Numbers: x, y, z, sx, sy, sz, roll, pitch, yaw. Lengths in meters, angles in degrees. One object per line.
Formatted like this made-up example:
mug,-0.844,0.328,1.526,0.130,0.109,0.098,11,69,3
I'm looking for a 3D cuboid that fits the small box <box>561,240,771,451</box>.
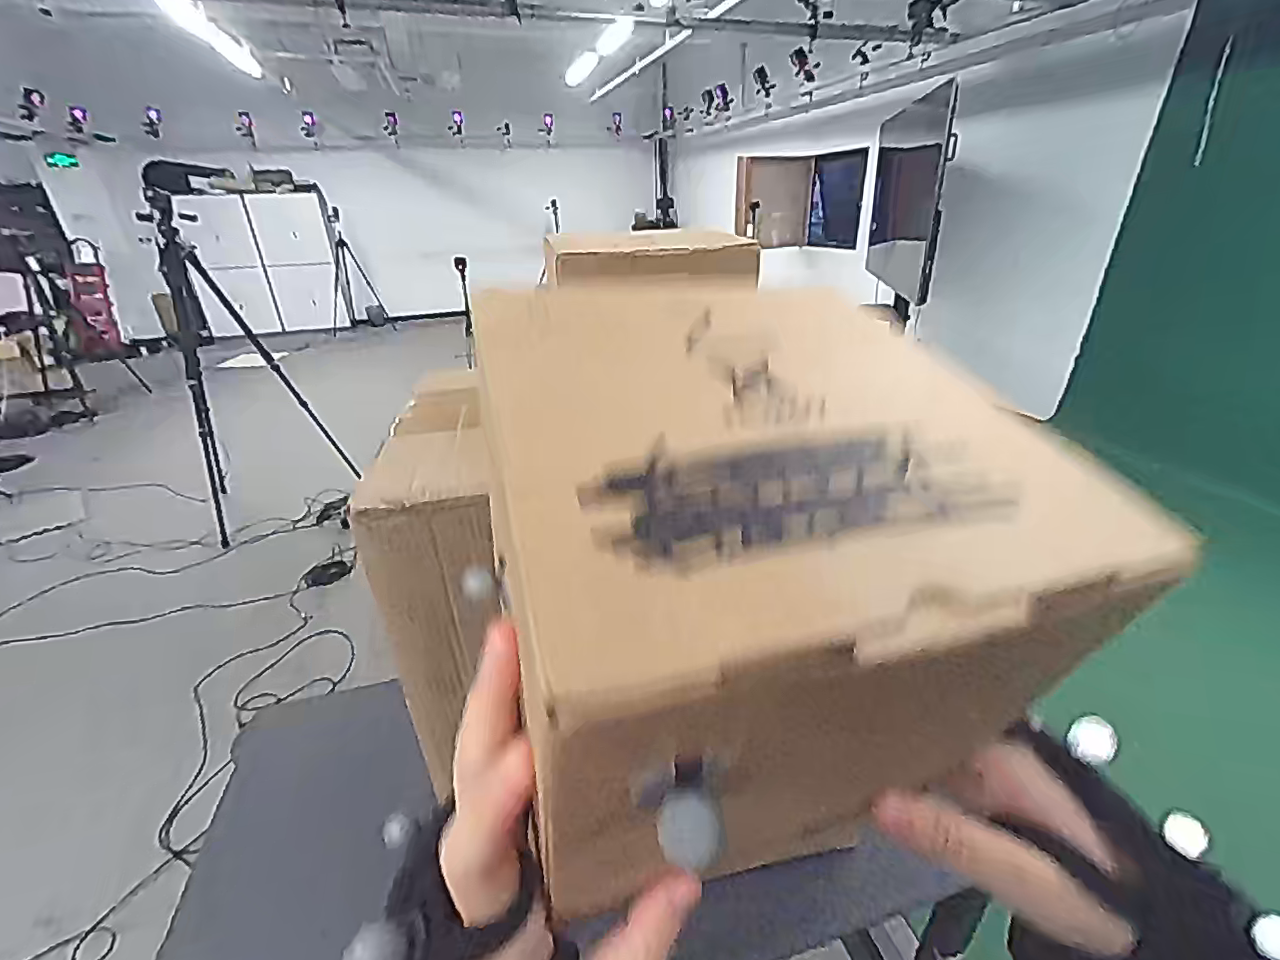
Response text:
small box,0.013,-0.141,0.541,0.168,0.176,0.179,-7,29,-10
